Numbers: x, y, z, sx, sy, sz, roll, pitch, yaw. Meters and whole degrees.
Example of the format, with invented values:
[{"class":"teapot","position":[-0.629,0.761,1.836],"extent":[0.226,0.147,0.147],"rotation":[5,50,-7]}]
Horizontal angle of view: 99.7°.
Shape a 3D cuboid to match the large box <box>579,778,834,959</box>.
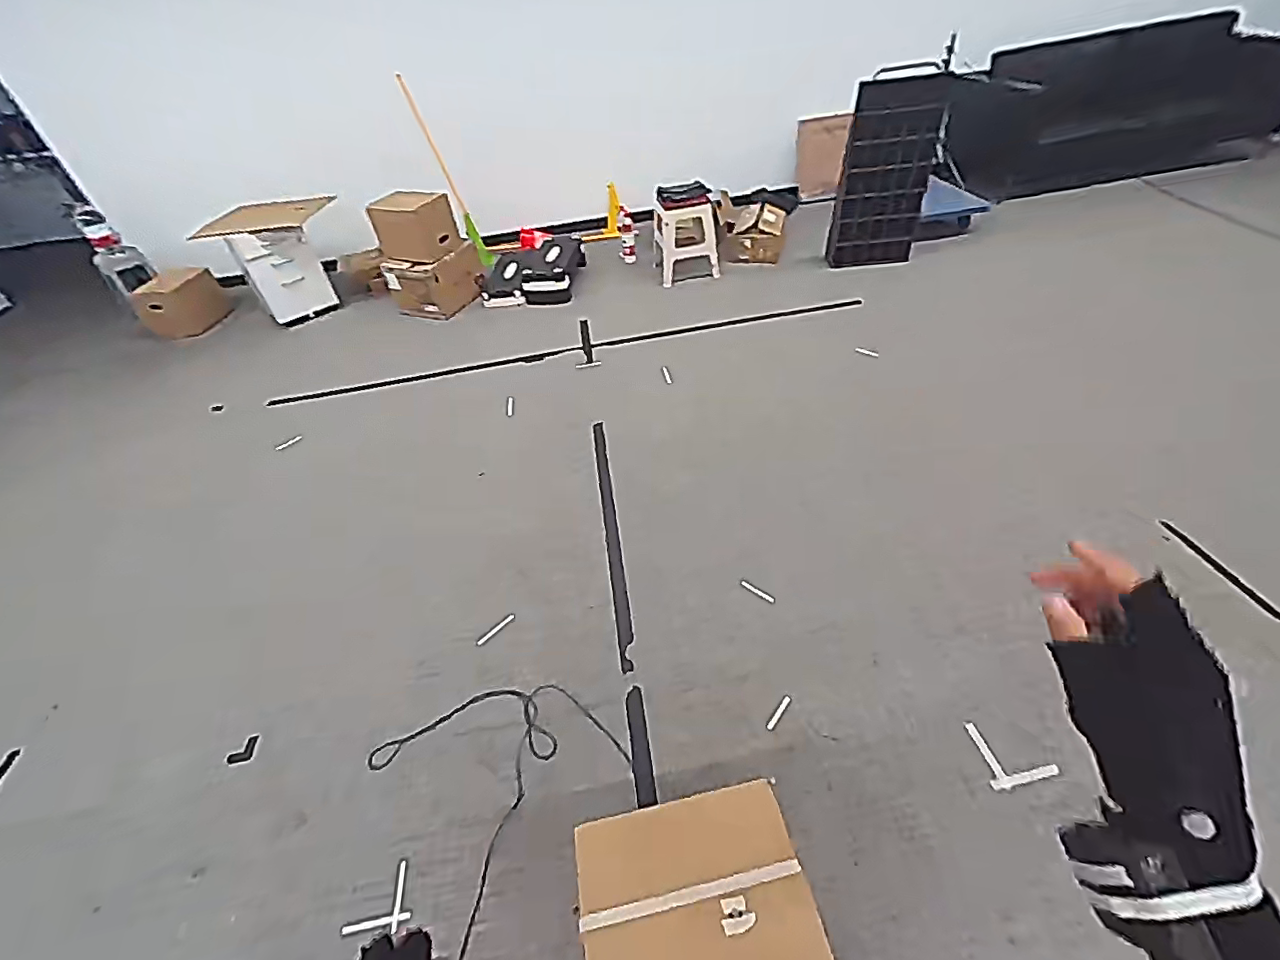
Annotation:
[{"class":"large box","position":[0.114,0.860,1.074],"extent":[0.408,0.320,0.320],"rotation":[-11,41,-5]}]
